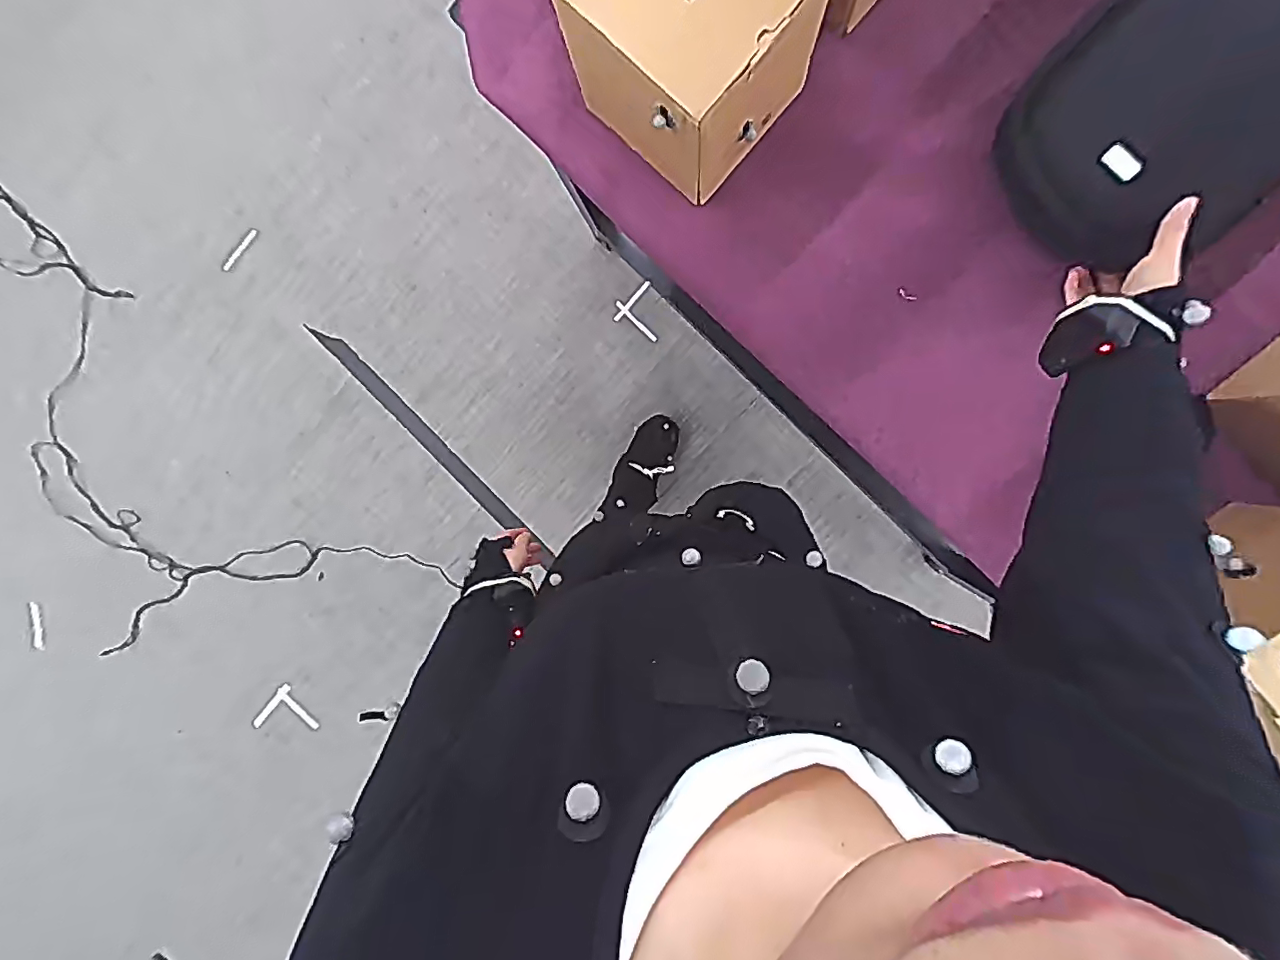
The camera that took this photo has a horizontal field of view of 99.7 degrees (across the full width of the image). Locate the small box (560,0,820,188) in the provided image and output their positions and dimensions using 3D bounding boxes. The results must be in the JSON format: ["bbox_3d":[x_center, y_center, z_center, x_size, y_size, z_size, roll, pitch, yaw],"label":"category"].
[{"bbox_3d":[0.044,-0.423,0.514,0.179,0.176,0.168,42,97,0],"label":"small box"}]
